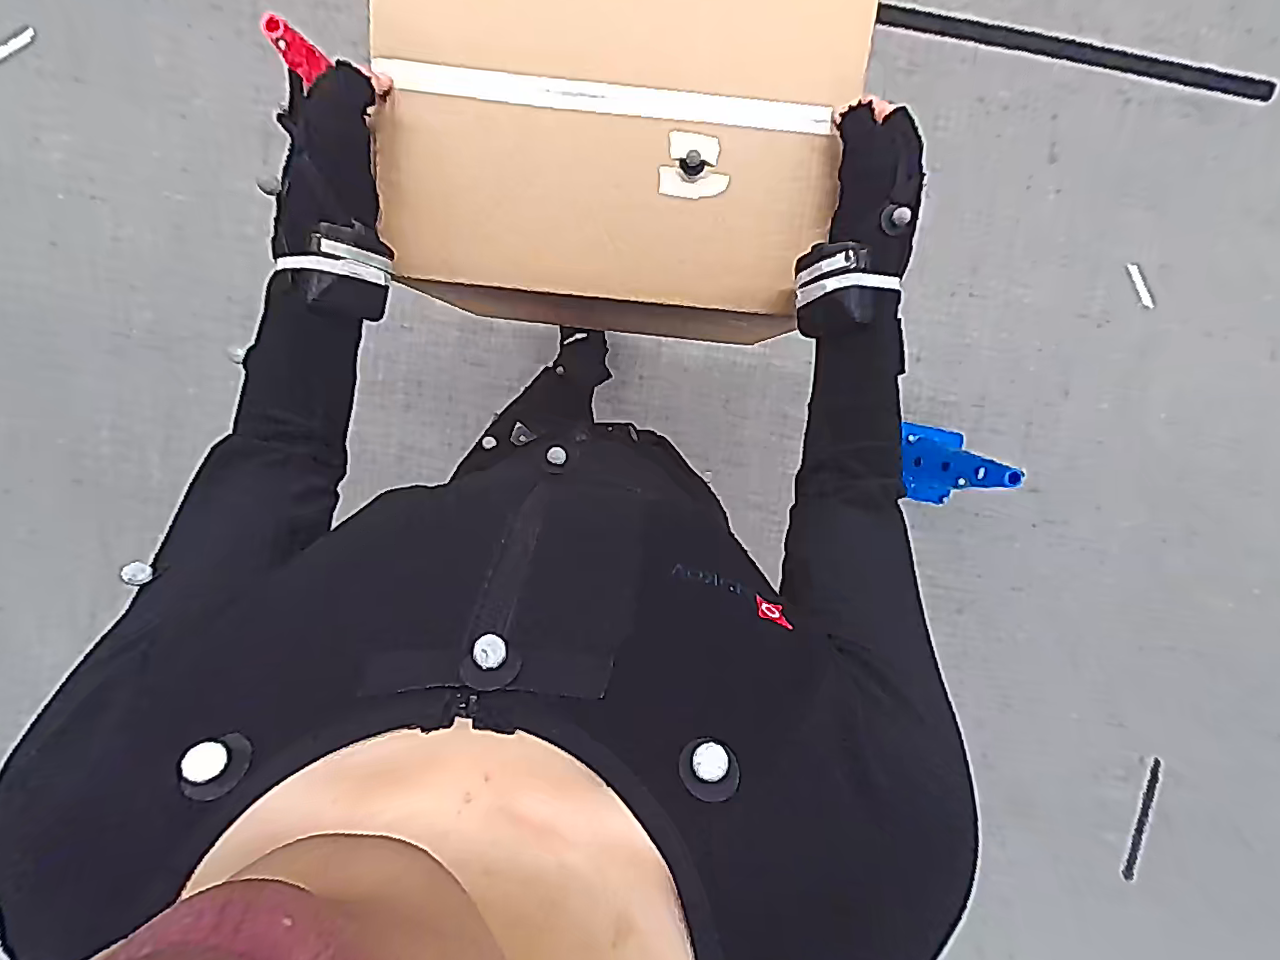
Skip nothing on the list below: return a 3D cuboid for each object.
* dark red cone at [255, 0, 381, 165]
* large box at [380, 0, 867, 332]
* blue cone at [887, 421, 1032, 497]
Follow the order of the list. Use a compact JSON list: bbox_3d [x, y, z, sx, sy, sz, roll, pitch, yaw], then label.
[{"bbox_3d":[-0.667,-0.859,1.138,0.201,0.394,0.202,15,96,-4],"label":"dark red cone"},{"bbox_3d":[-0.021,-0.352,0.600,0.408,0.320,0.320,5,100,-2],"label":"large box"},{"bbox_3d":[0.778,-0.037,1.301,0.192,0.380,0.193,13,97,-4],"label":"blue cone"}]
